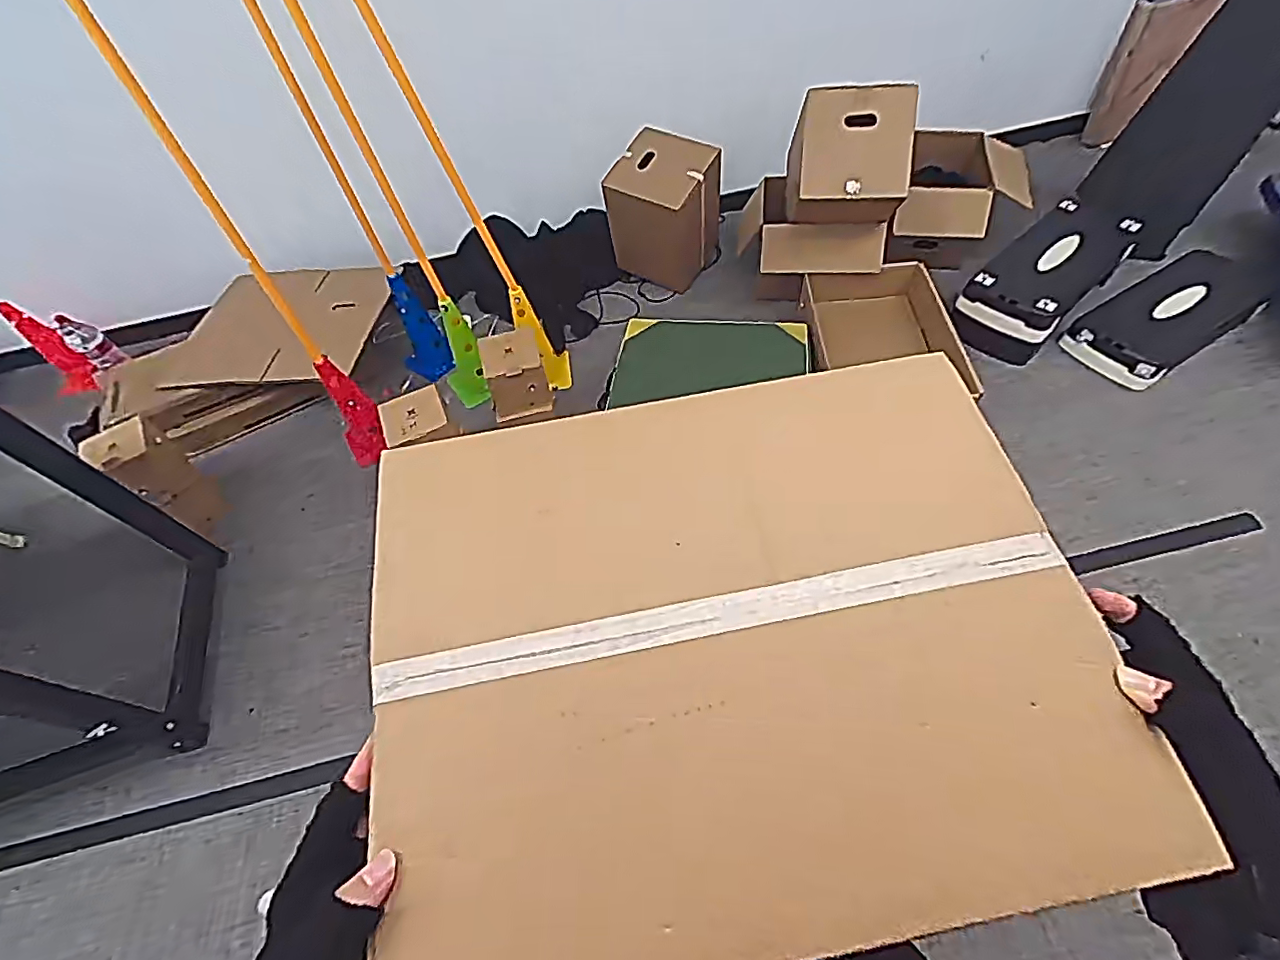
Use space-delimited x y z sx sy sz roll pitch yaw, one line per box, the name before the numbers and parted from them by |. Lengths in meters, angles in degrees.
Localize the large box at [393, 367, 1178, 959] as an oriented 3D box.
large box | 0.056 0.153 0.461 0.408 0.320 0.320 -11 64 -2
